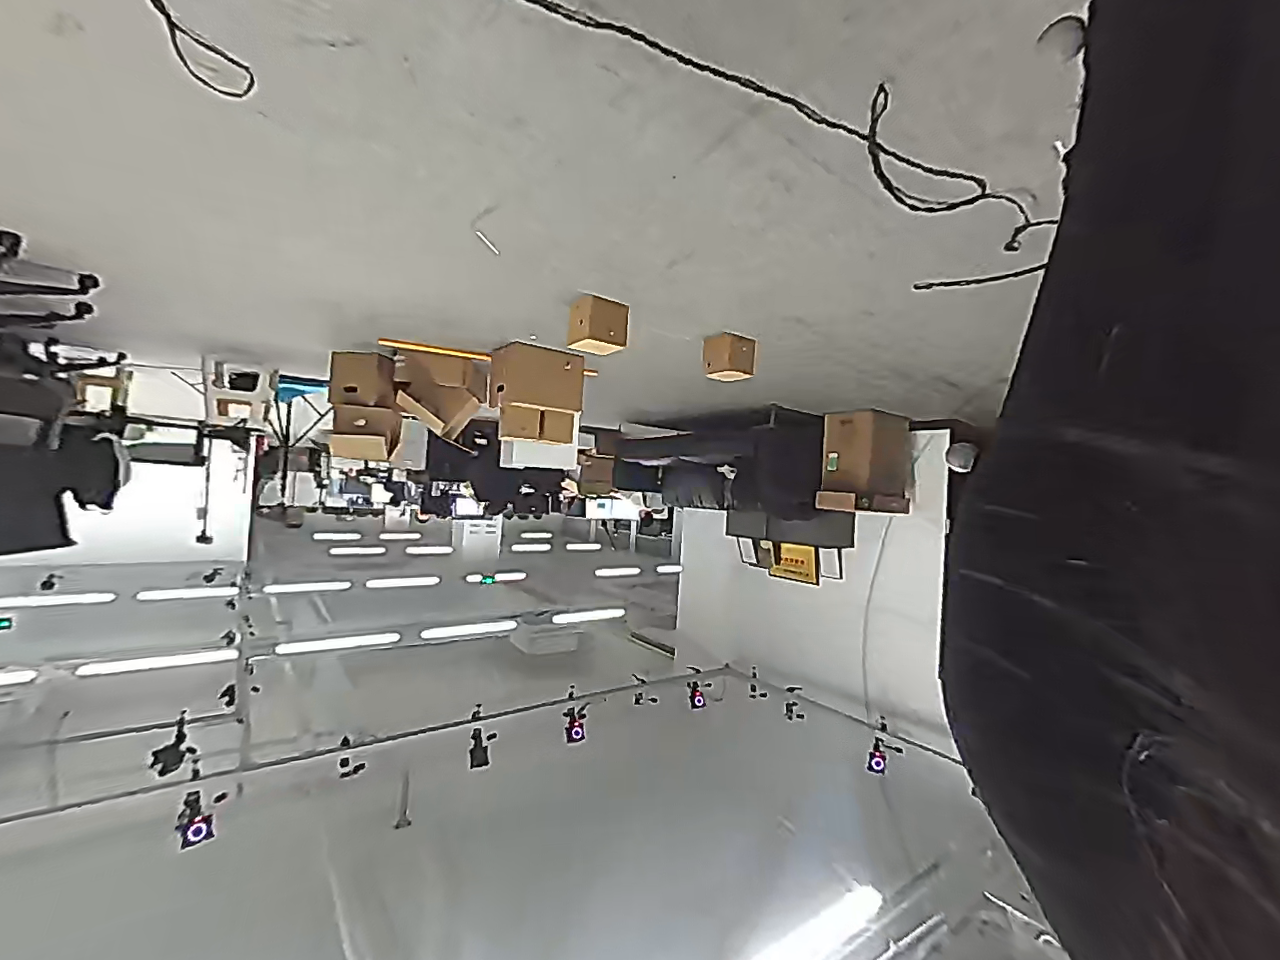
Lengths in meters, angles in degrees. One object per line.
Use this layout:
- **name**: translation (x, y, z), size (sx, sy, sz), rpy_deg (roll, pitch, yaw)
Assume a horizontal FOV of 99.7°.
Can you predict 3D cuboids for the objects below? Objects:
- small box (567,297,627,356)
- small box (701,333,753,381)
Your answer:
- **small box**: translation (-0.165, -0.591, 2.083), size (0.179, 0.176, 0.168), rpy_deg (2, 179, -36)
- **small box**: translation (0.401, -0.561, 2.468), size (0.168, 0.176, 0.179), rpy_deg (3, 179, -35)
